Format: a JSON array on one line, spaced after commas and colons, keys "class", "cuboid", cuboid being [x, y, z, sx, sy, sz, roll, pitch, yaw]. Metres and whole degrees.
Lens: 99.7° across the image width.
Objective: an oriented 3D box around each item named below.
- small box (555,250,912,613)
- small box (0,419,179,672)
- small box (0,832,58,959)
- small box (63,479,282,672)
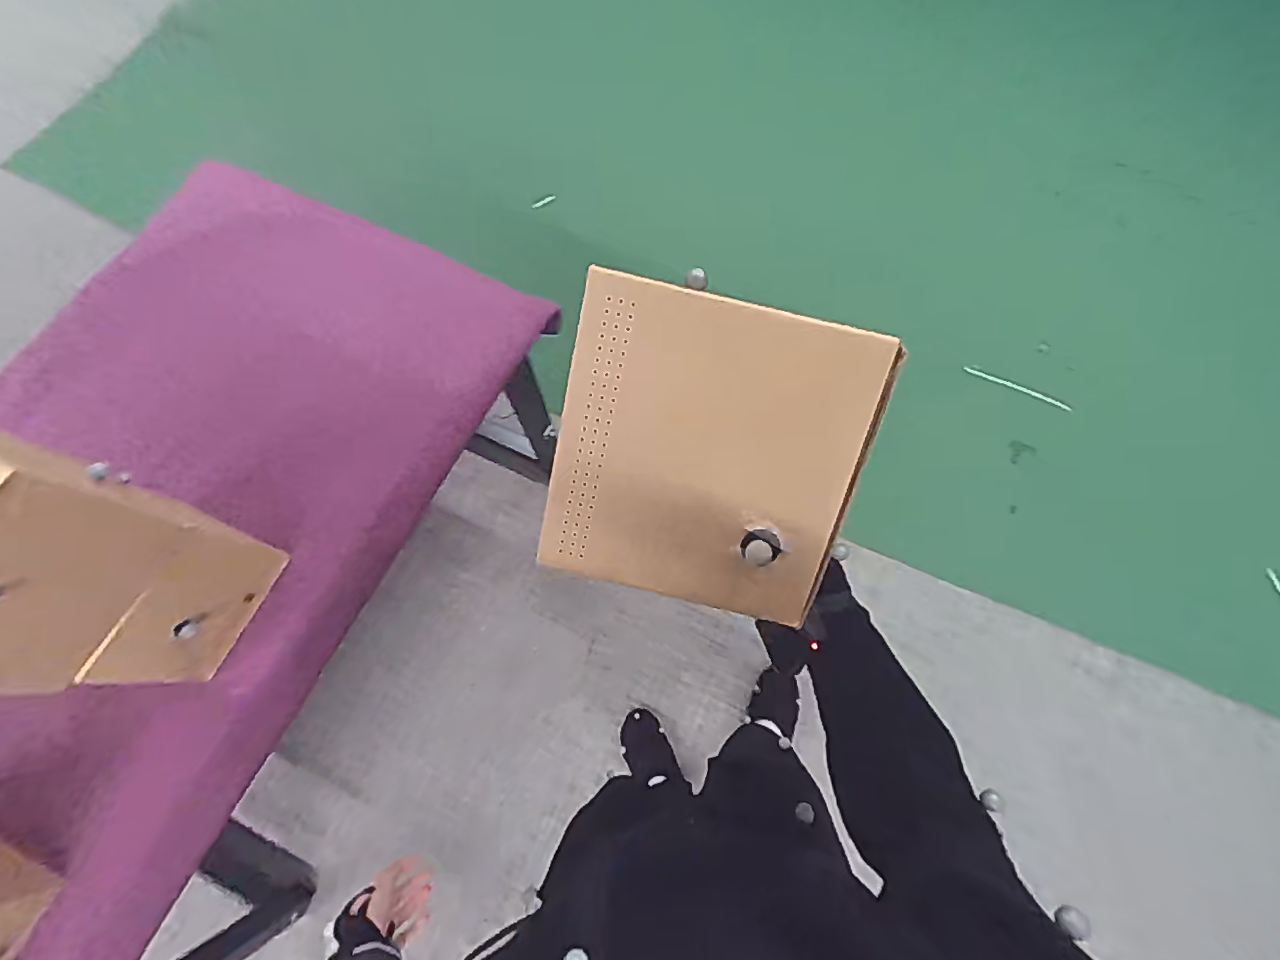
[{"class": "small box", "cuboid": [0.046, -0.041, 0.377, 0.176, 0.168, 0.179, 14, 107, 0]}, {"class": "small box", "cuboid": [-0.561, 0.047, 0.454, 0.168, 0.176, 0.179, 25, 72, 9]}, {"class": "small box", "cuboid": [-0.730, 0.431, 0.494, 0.179, 0.176, 0.168, 23, 73, 7]}, {"class": "small box", "cuboid": [-0.562, 0.100, 0.610, 0.179, 0.176, 0.168, 22, 73, 8]}]
